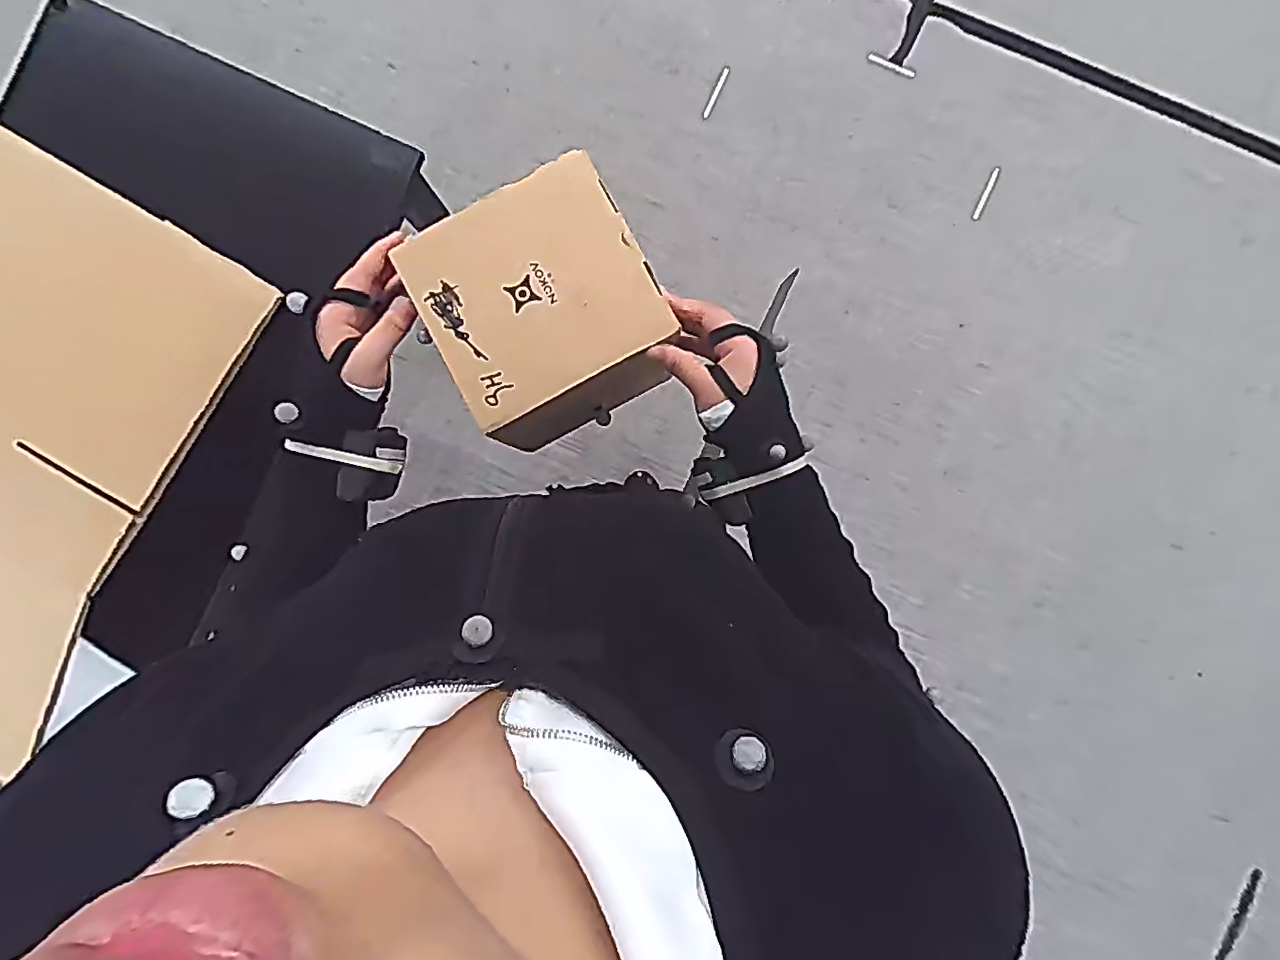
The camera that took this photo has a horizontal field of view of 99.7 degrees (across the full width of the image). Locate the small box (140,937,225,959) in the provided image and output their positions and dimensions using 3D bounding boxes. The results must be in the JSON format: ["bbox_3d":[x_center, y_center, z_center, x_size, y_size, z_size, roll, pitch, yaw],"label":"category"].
[{"bbox_3d":[-1.118,1.220,1.252,0.179,0.176,0.168,18,89,2],"label":"small box"}]
